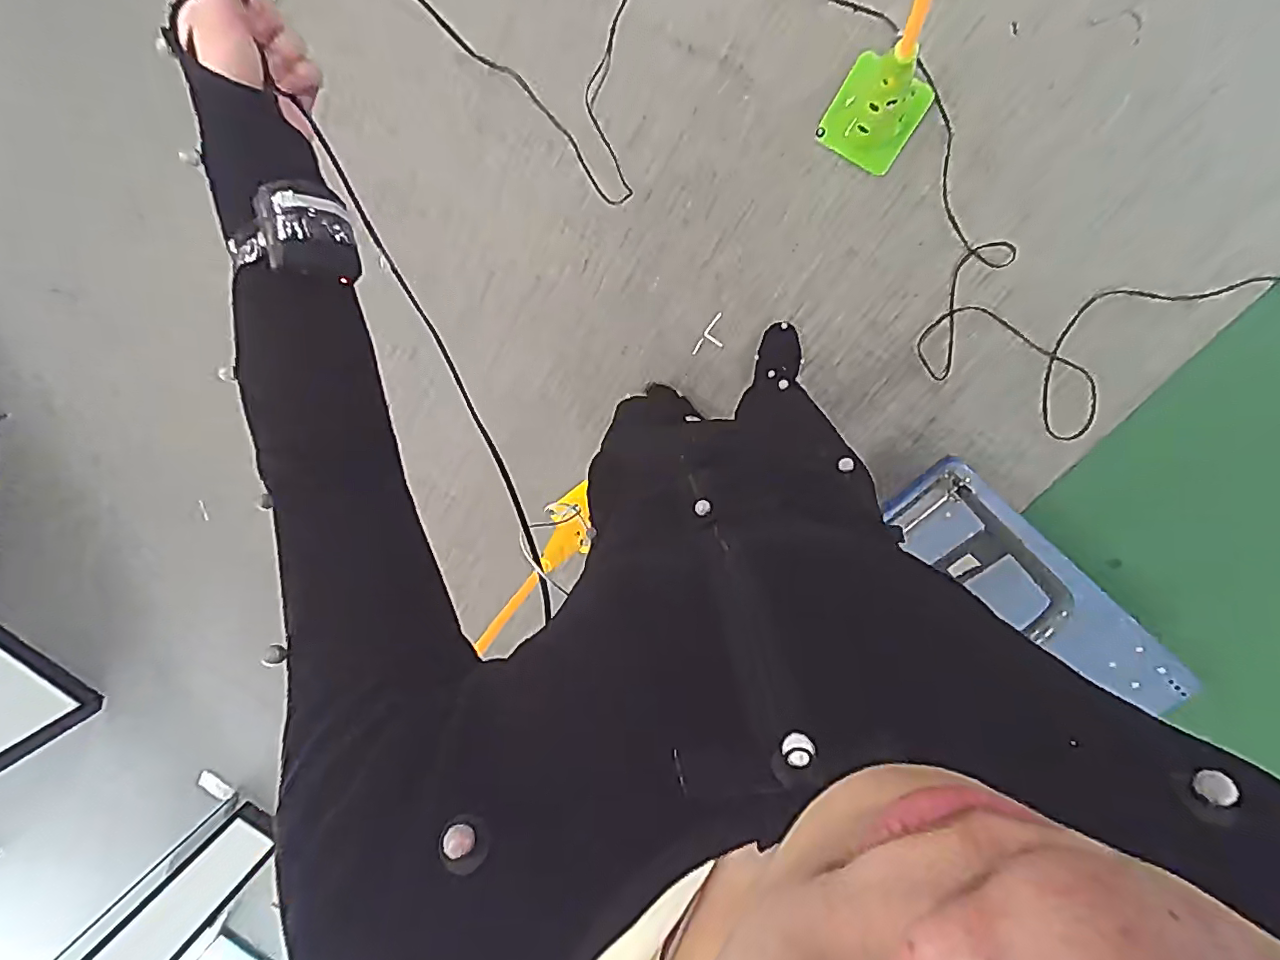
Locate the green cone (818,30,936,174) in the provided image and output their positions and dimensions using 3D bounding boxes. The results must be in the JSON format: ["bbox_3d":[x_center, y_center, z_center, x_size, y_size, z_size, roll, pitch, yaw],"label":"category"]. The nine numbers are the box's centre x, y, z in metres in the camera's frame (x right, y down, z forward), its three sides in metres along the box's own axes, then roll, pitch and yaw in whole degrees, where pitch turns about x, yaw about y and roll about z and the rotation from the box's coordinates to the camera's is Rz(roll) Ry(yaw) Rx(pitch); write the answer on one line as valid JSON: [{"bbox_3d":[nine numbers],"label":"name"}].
[{"bbox_3d":[0.513,-0.802,1.102,0.200,0.368,0.202,31,111,2],"label":"green cone"}]
